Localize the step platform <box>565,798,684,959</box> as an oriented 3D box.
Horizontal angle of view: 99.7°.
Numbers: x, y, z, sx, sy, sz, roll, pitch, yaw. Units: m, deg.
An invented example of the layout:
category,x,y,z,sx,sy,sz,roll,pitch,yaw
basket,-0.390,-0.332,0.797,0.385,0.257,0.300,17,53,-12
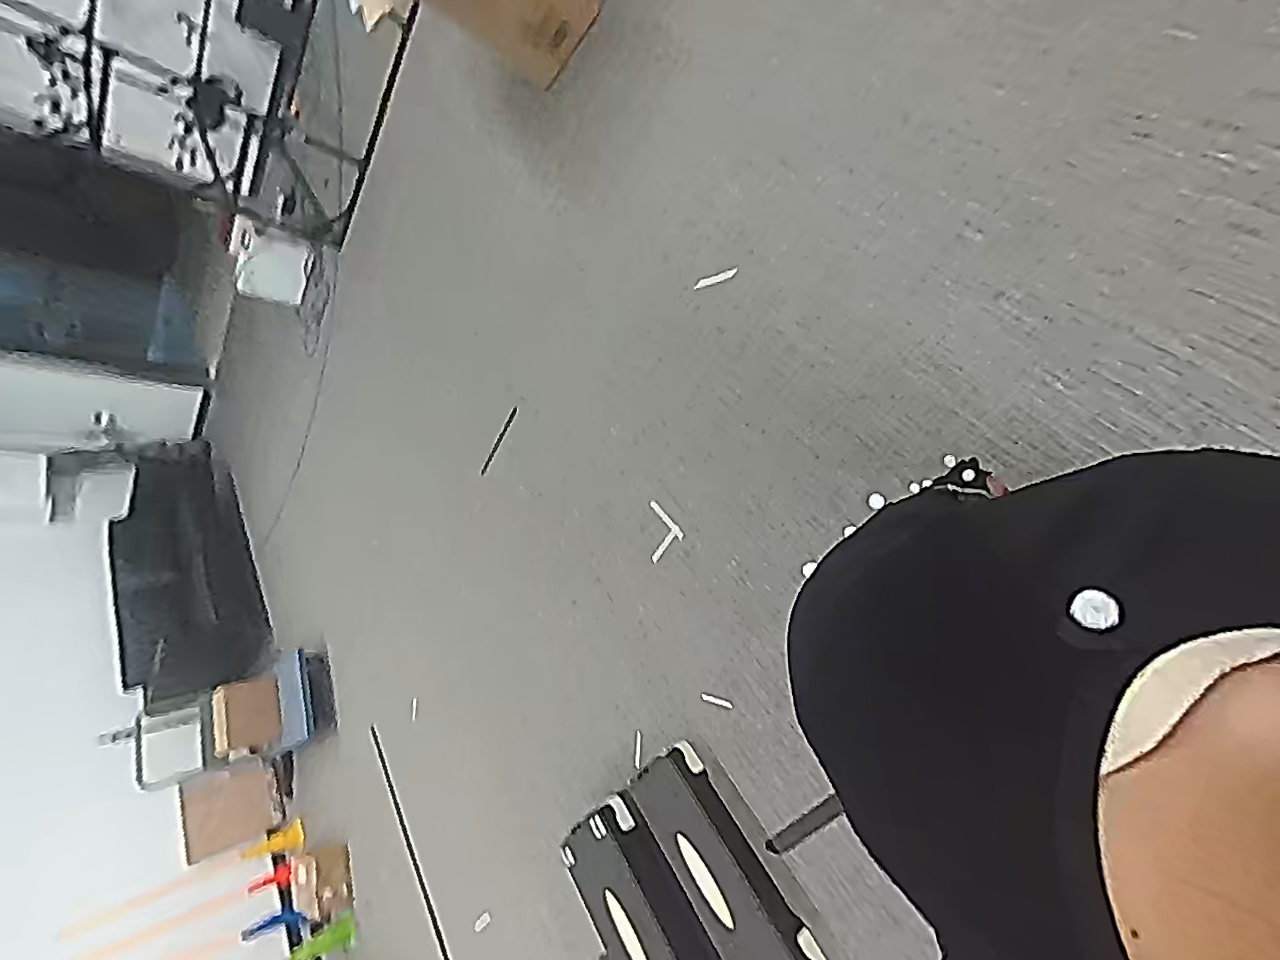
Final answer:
category,x,y,z,sx,sy,sz,roll,pitch,yaw
step platform,0.027,1.376,1.631,0.286,0.204,0.684,-49,56,27
